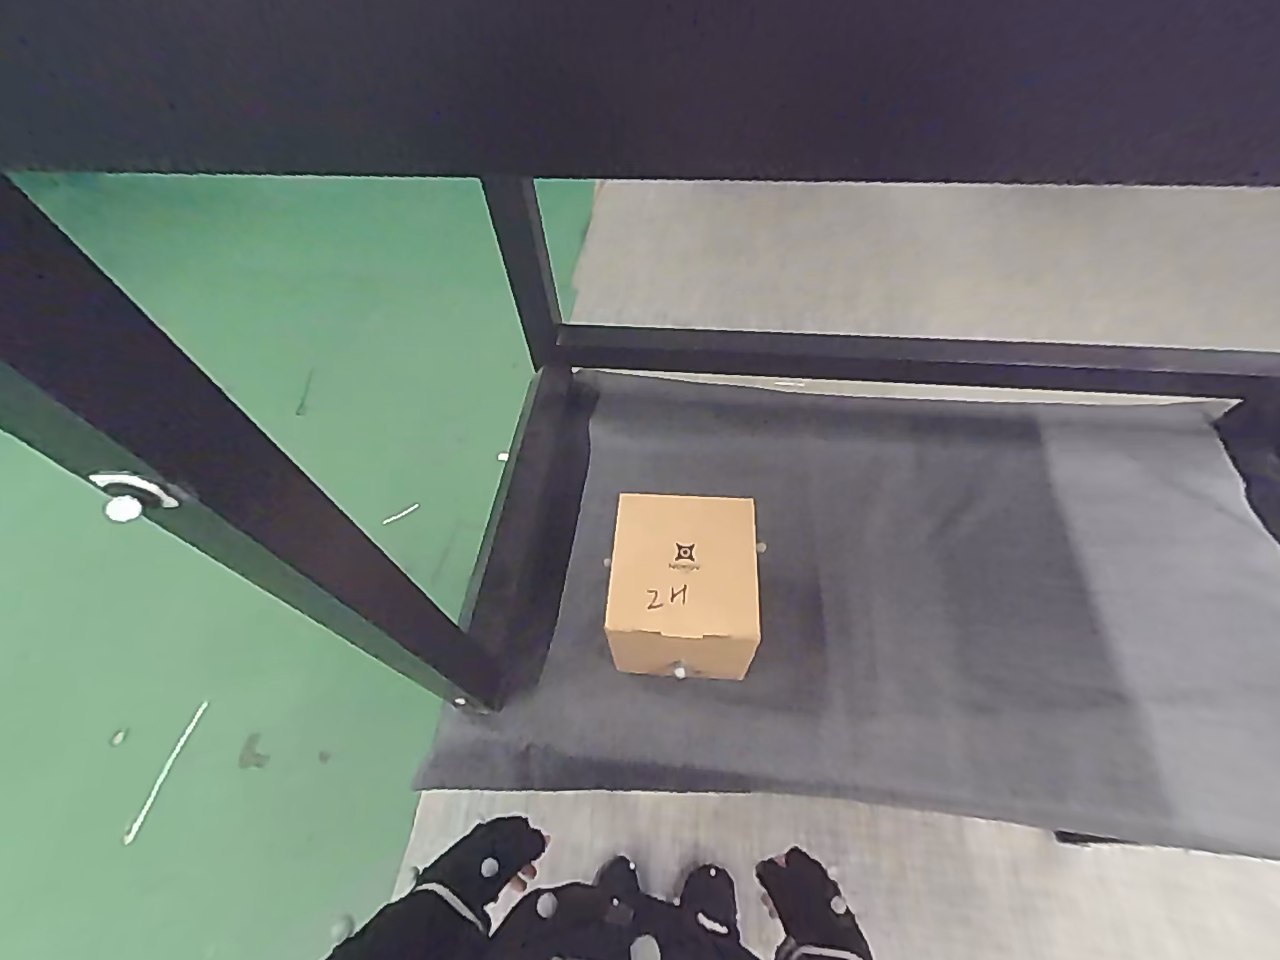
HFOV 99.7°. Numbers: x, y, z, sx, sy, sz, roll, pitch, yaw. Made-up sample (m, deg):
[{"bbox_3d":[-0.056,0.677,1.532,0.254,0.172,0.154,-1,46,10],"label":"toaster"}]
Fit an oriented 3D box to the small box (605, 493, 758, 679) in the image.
[{"bbox_3d":[0.053,0.136,0.685,0.168,0.176,0.179,2,56,5],"label":"small box"}]
